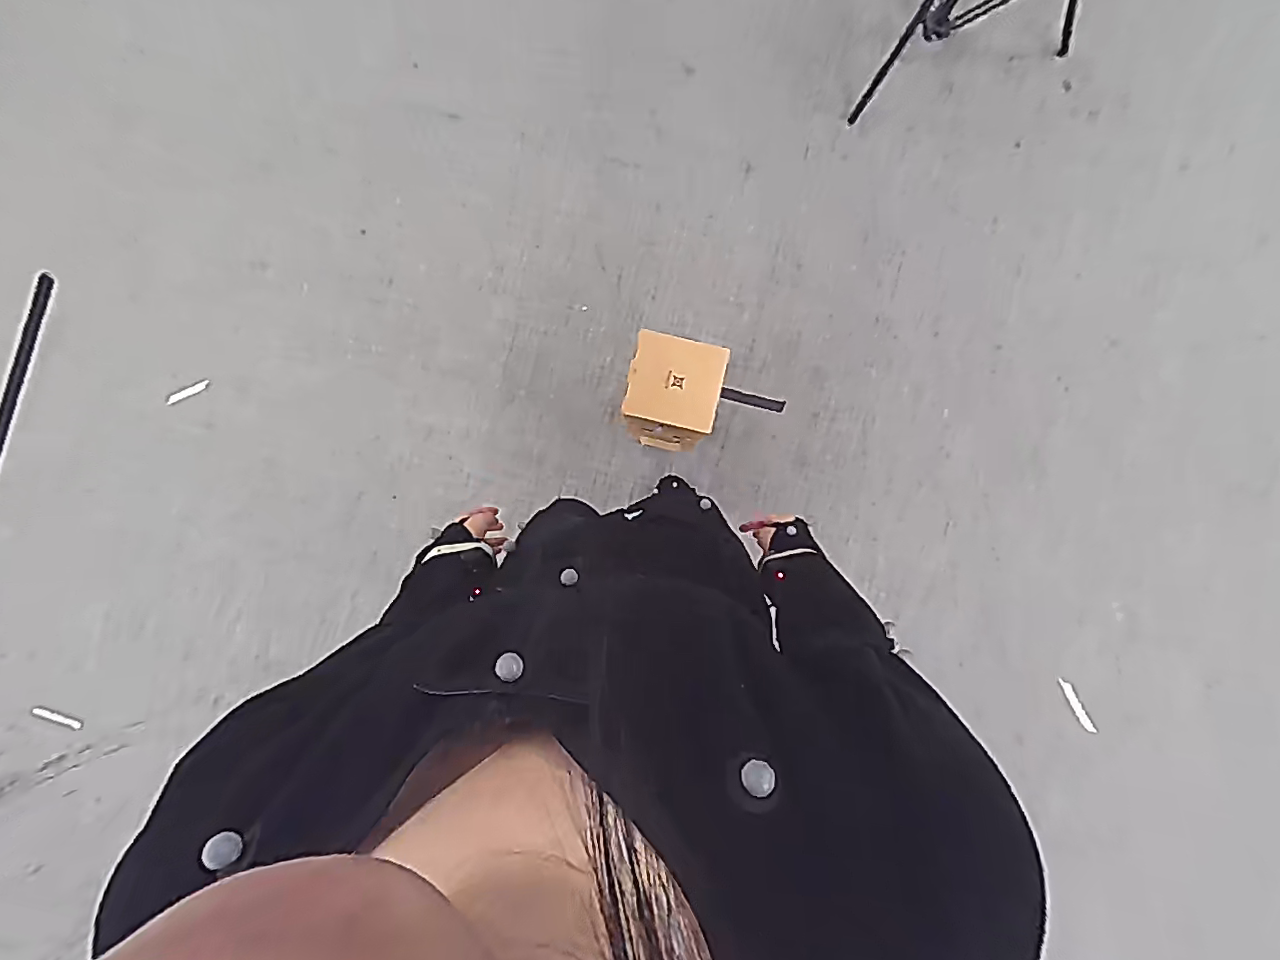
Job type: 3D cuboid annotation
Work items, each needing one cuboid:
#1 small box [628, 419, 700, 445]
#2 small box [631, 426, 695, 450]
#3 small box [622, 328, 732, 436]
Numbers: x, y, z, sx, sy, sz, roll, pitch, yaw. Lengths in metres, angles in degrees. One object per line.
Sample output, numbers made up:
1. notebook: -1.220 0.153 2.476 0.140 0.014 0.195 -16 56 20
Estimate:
1. small box: 0.076 -0.185 1.251 0.168 0.176 0.179 14 89 2
2. small box: 0.082 -0.183 1.413 0.168 0.176 0.179 14 90 3
3. small box: 0.072 -0.187 1.089 0.179 0.176 0.168 13 91 2
